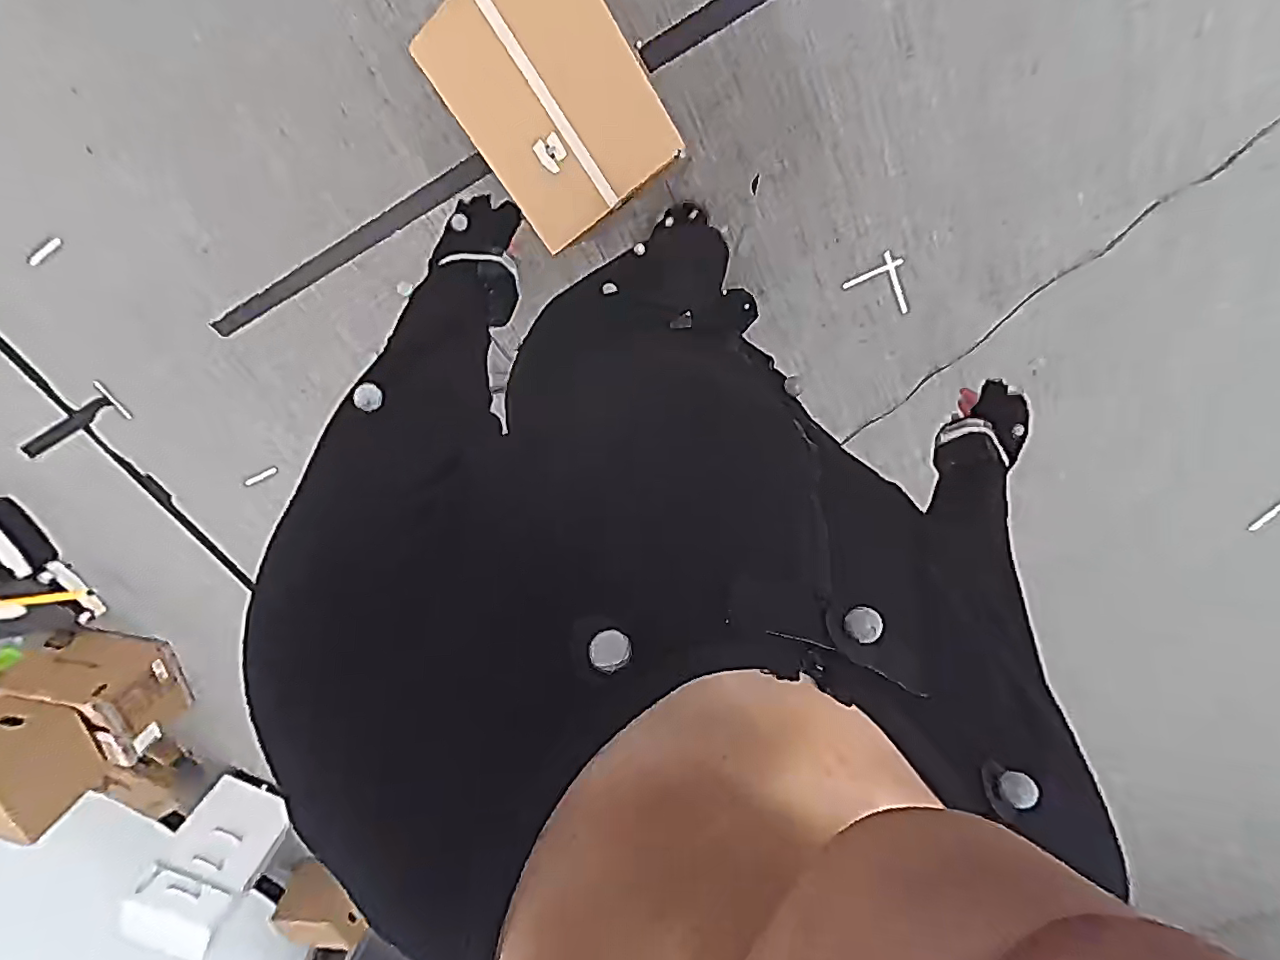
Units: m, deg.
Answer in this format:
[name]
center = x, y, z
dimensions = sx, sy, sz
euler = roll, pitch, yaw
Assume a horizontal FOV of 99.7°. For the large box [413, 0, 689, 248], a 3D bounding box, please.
[large box]
center = -0.139, -0.740, 1.062
dimensions = 0.320, 0.320, 0.408
euler = -29, 113, 22
